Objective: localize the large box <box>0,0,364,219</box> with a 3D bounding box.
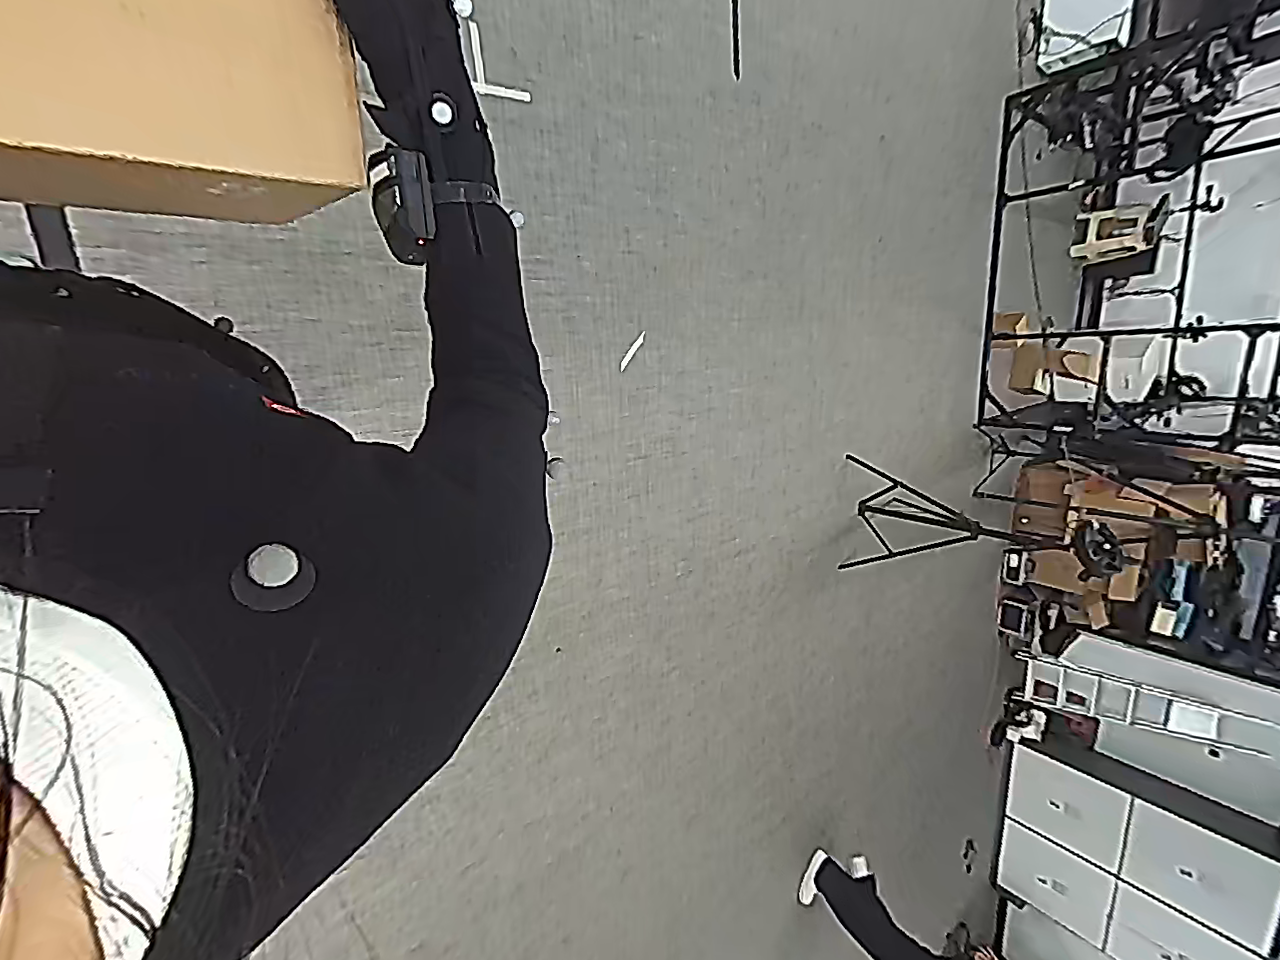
[{"bbox_3d":[-0.447,-0.351,0.322,0.408,0.320,0.320,-16,116,-39],"label":"large box"}]
